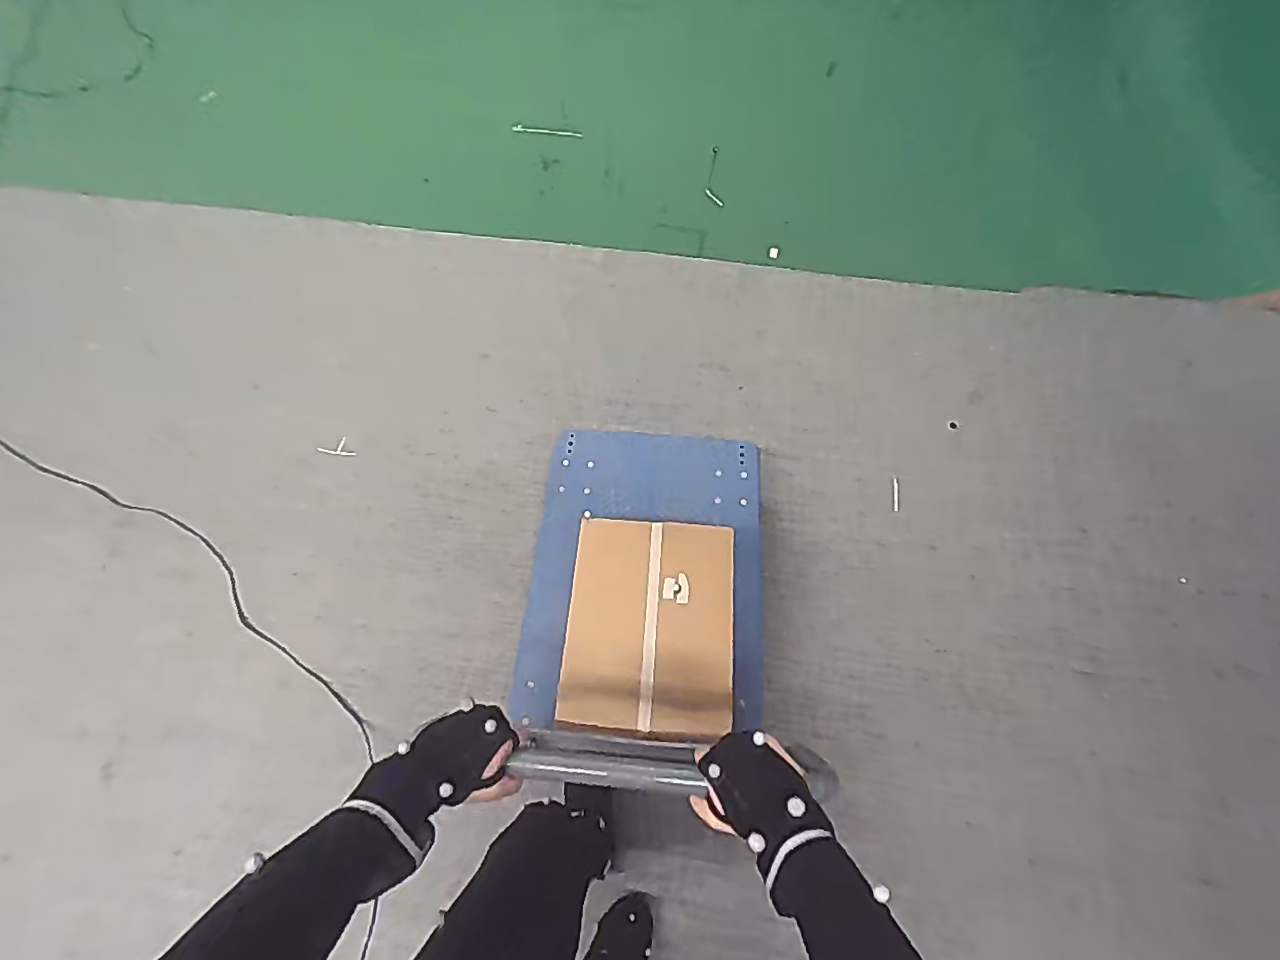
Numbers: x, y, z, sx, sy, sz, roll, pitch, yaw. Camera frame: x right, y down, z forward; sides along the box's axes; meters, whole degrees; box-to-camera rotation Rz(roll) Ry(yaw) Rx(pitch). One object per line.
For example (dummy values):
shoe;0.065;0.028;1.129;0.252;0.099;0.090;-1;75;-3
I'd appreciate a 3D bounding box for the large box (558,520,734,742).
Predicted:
large box;0.023;0.334;1.159;0.320;0.320;0.408;4;64;2
